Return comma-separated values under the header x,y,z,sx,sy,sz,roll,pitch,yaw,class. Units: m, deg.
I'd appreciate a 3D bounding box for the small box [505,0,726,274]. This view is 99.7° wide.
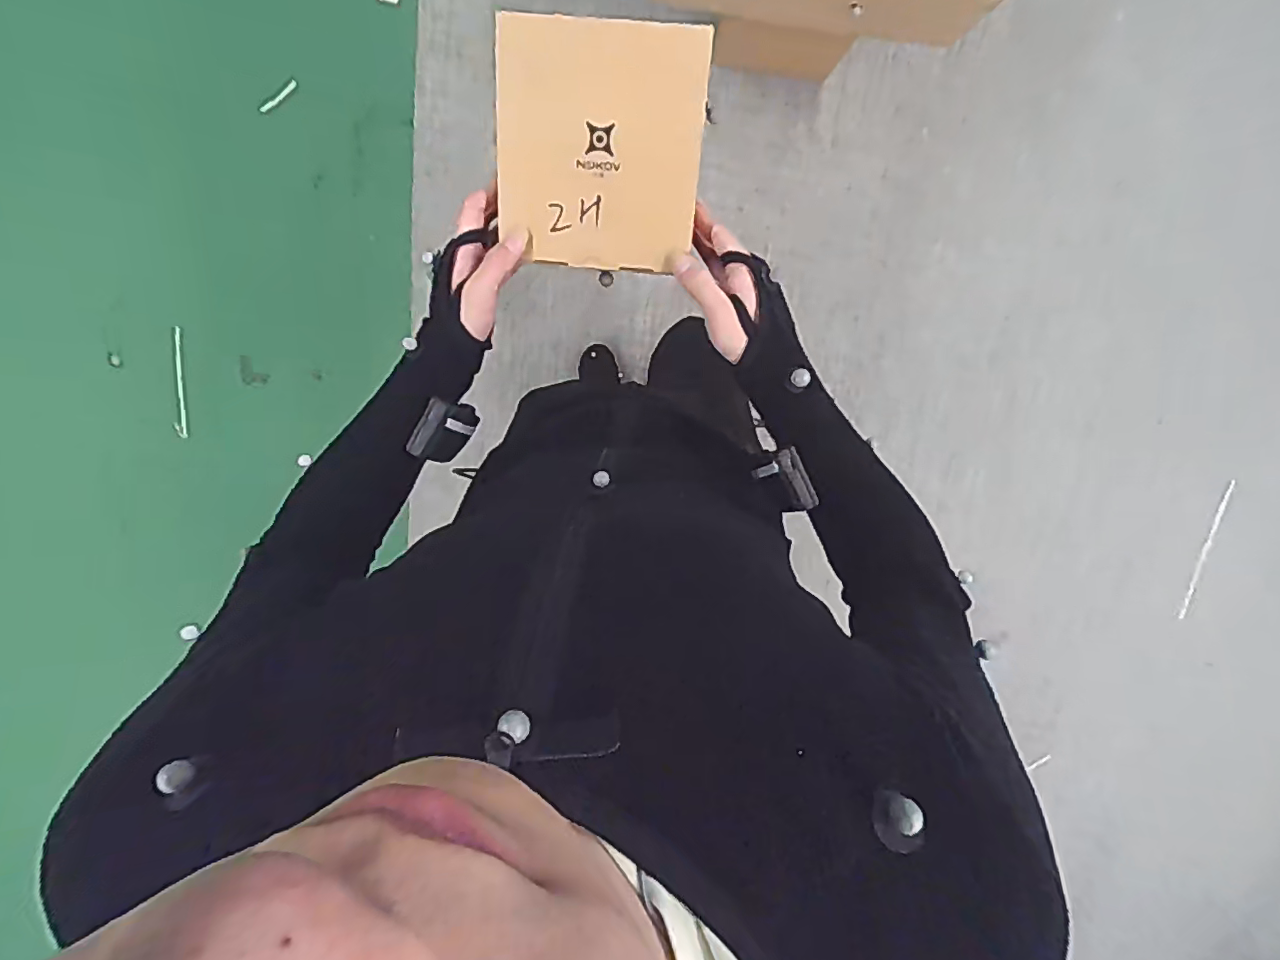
x,y,z,sx,sy,sz,roll,pitch,yaw,class
-0.021,-0.296,0.507,0.168,0.176,0.179,6,110,1,small box
